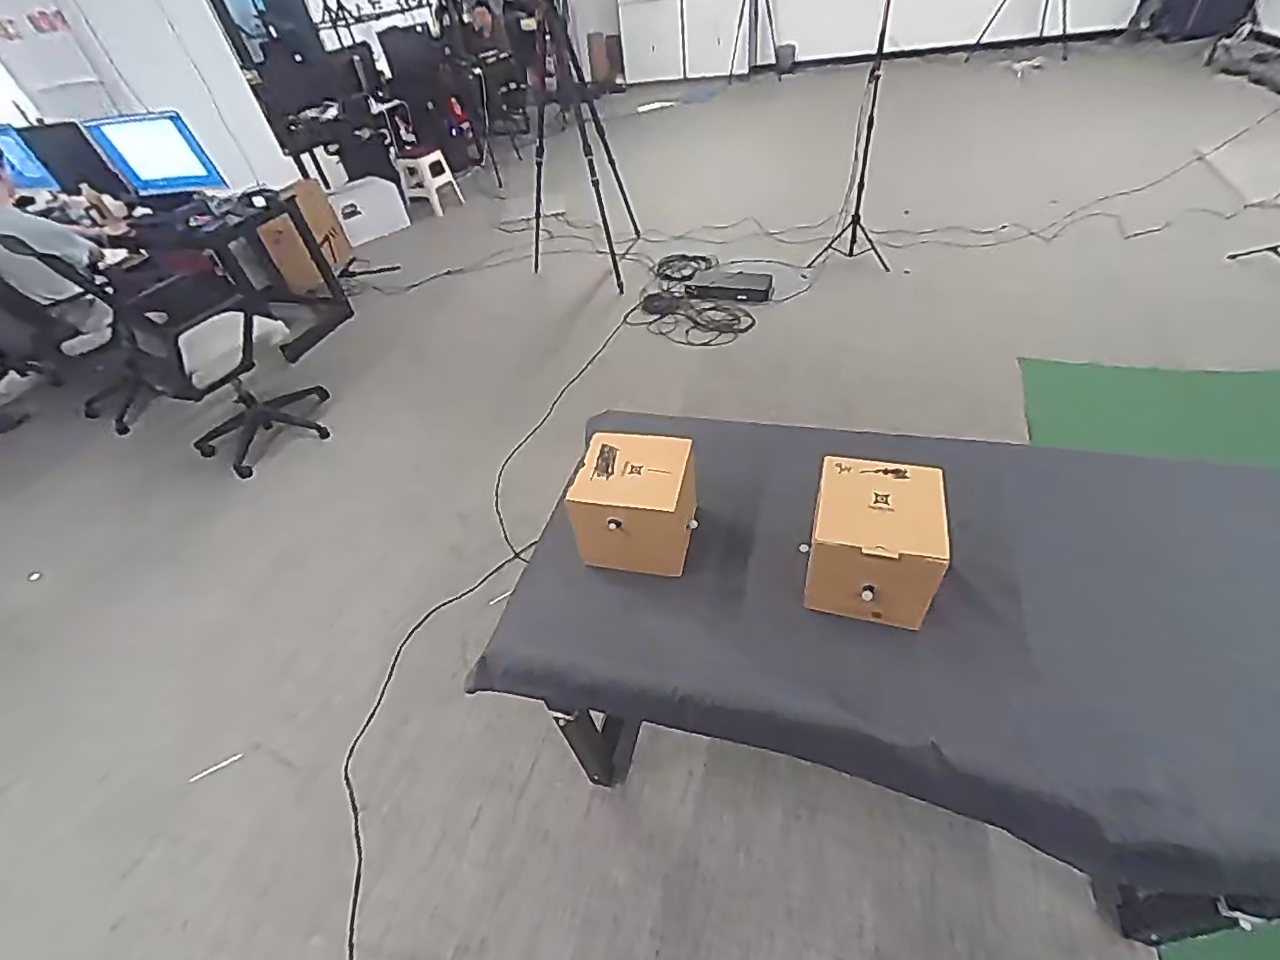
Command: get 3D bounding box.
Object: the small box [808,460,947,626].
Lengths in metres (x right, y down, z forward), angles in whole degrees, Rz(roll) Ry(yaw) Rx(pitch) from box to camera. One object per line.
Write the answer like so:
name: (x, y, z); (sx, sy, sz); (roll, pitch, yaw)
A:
small box: (0.351, 0.096, 0.817); (0.168, 0.176, 0.179); (8, 47, 18)

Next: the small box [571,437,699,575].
small box: (0.002, 0.045, 0.929); (0.179, 0.176, 0.168); (5, 46, 14)
